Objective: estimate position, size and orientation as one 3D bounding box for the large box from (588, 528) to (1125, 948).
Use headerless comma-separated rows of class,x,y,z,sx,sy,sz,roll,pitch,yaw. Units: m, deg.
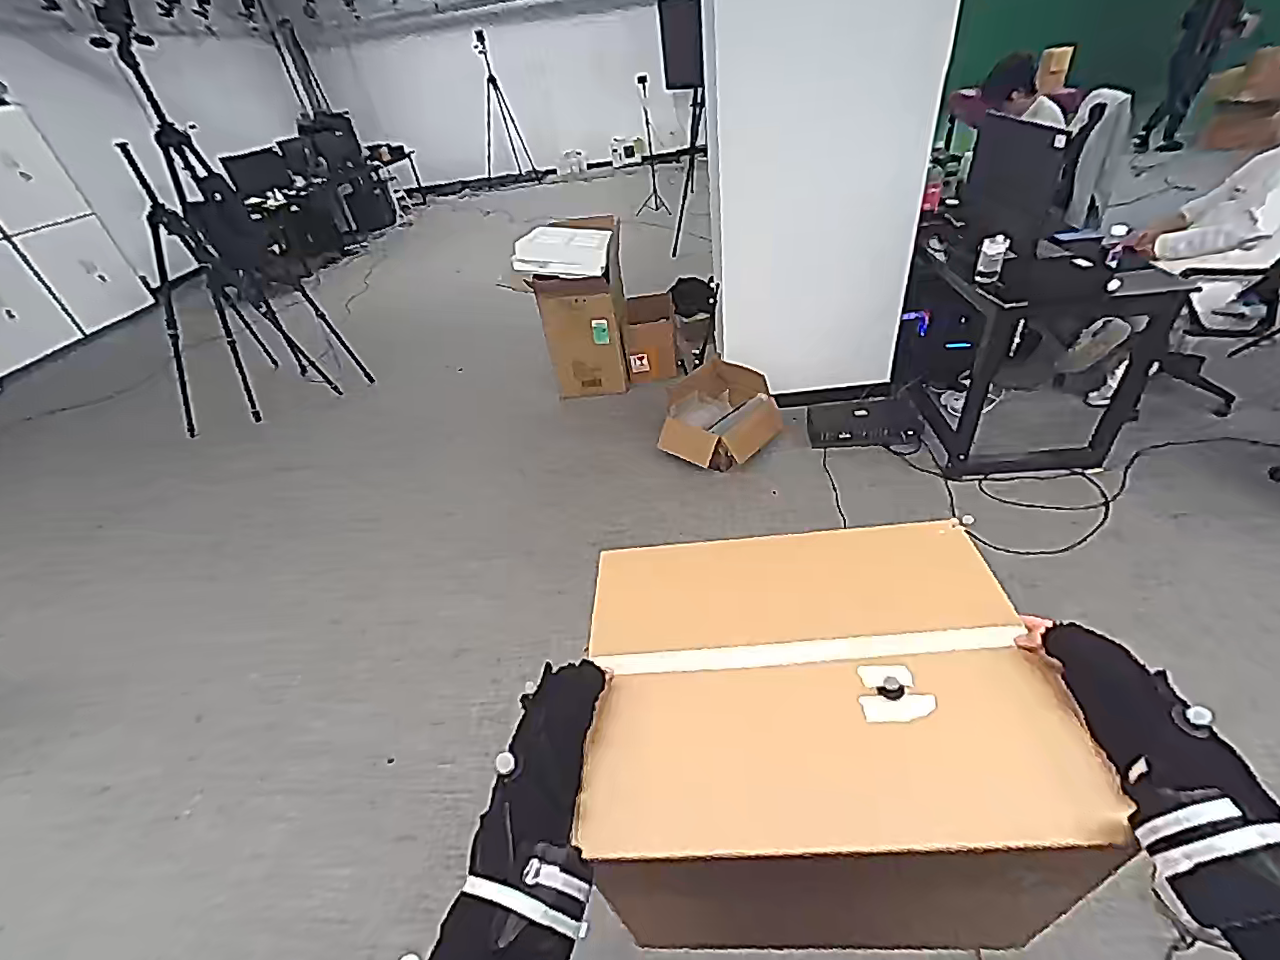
large box,0.176,0.288,0.610,0.408,0.320,0.320,-6,39,7
